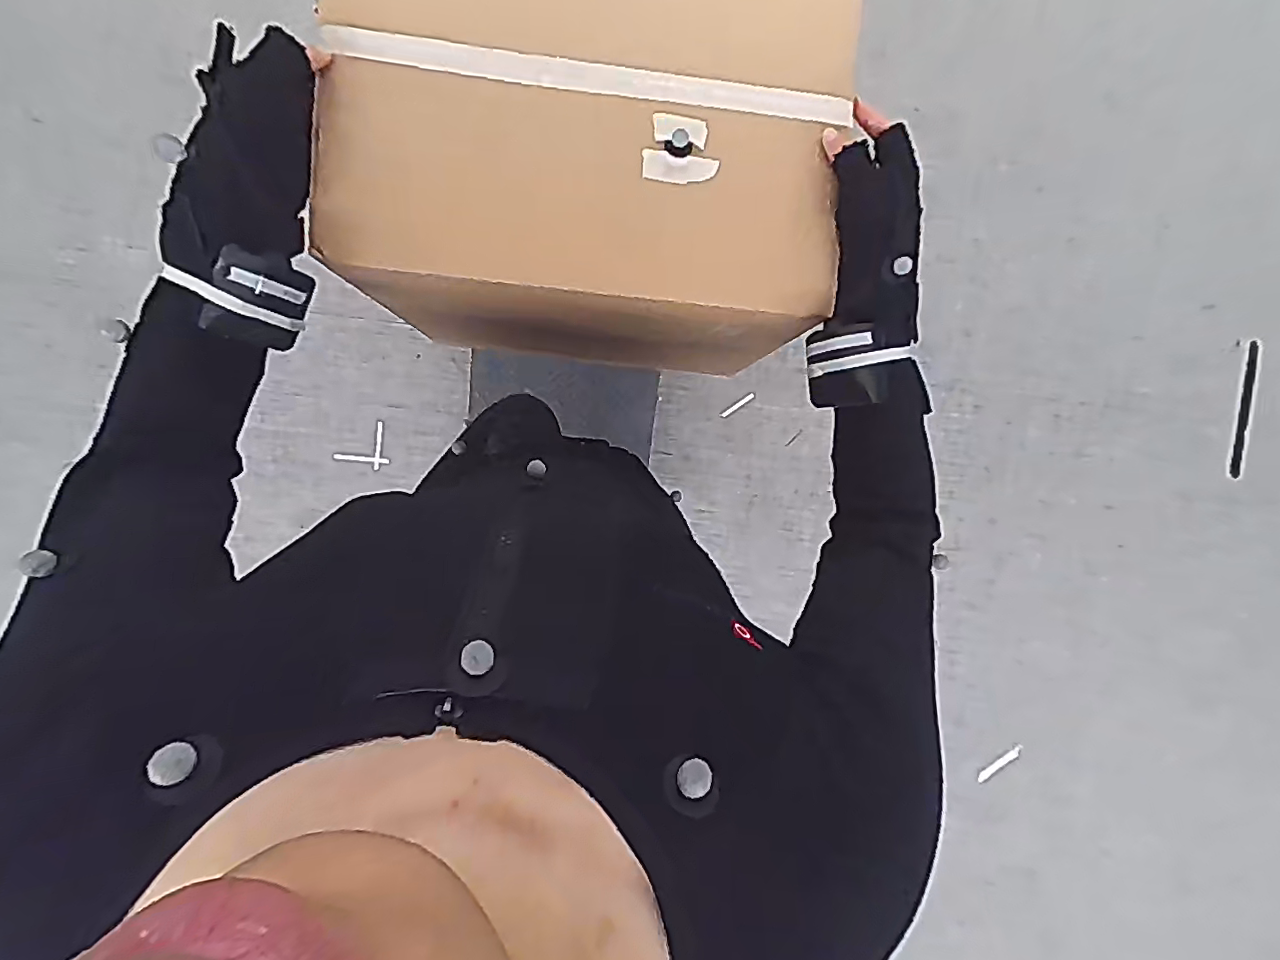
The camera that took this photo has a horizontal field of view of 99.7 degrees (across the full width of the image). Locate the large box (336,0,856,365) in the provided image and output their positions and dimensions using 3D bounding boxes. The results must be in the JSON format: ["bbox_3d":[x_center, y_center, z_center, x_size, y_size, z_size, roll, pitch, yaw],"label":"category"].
[{"bbox_3d":[-0.042,-0.316,0.575,0.408,0.320,0.320,5,92,-5],"label":"large box"}]
